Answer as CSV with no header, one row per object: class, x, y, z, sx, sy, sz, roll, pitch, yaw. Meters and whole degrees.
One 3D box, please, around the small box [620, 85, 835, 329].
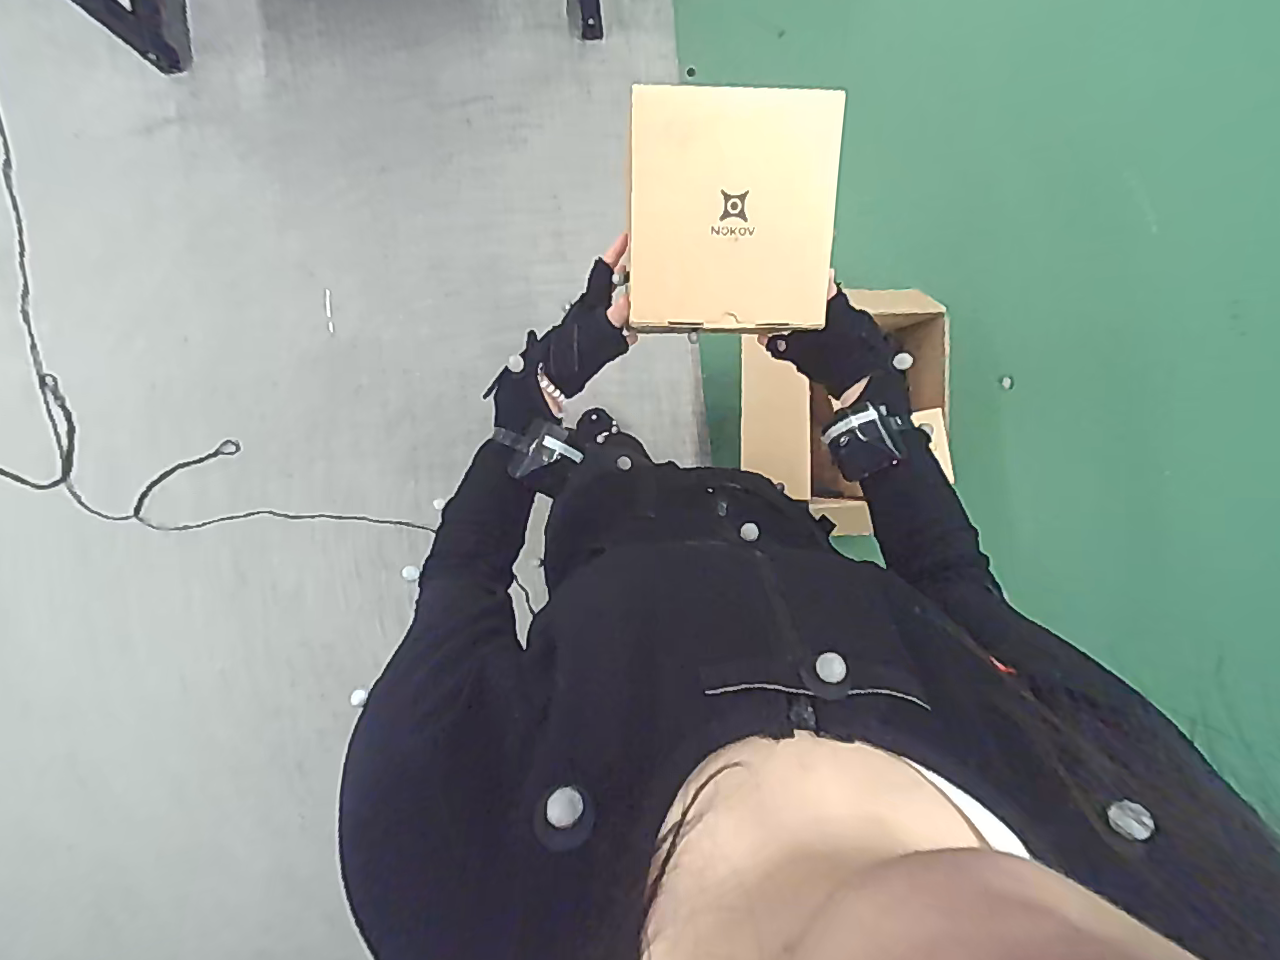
small box,0.066,-0.238,0.516,0.168,0.176,0.179,0,105,-4
